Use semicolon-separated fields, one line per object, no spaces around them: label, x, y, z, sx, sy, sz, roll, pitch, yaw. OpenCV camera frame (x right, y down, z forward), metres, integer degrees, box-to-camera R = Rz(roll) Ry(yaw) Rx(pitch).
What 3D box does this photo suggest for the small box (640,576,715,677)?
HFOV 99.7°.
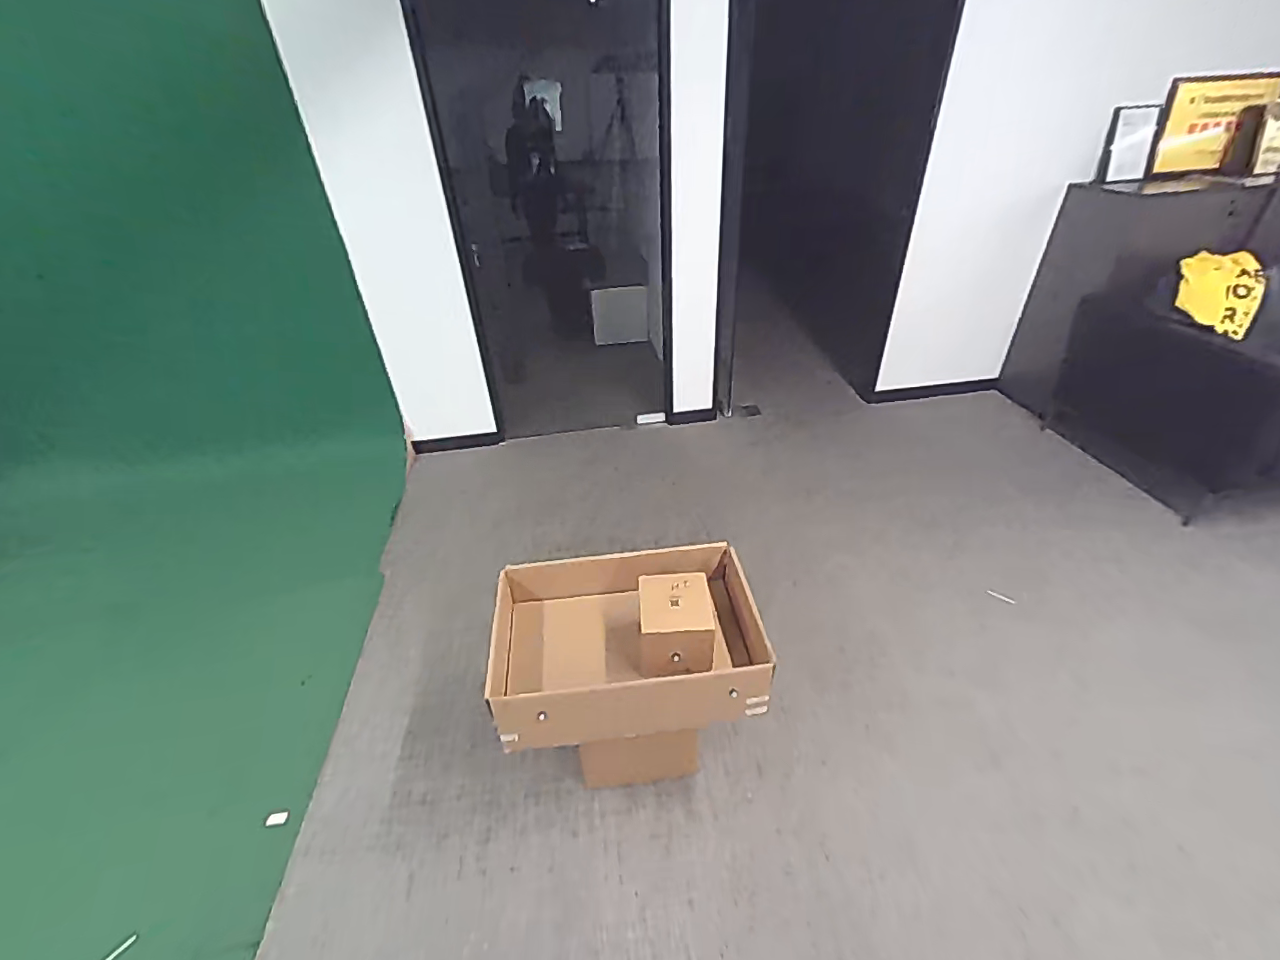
small box;0.087;0.354;1.290;0.168;0.176;0.179;-3;35;0
